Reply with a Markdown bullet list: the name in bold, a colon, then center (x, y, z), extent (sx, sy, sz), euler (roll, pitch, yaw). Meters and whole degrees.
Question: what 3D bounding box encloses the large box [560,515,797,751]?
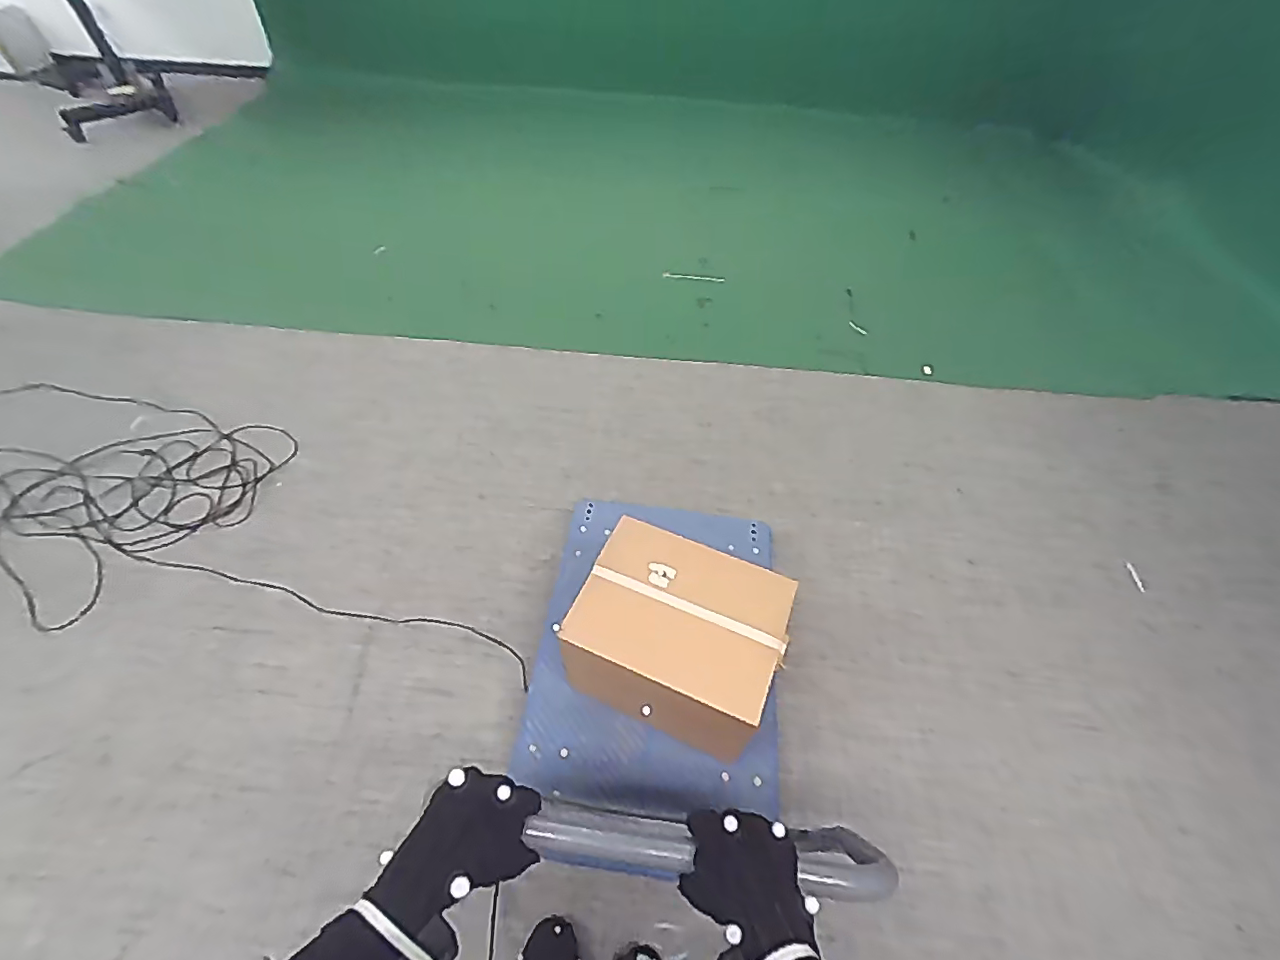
- **large box**: center (0.086, 0.339, 1.193), extent (0.408, 0.320, 0.320), euler (19, 54, 14)
